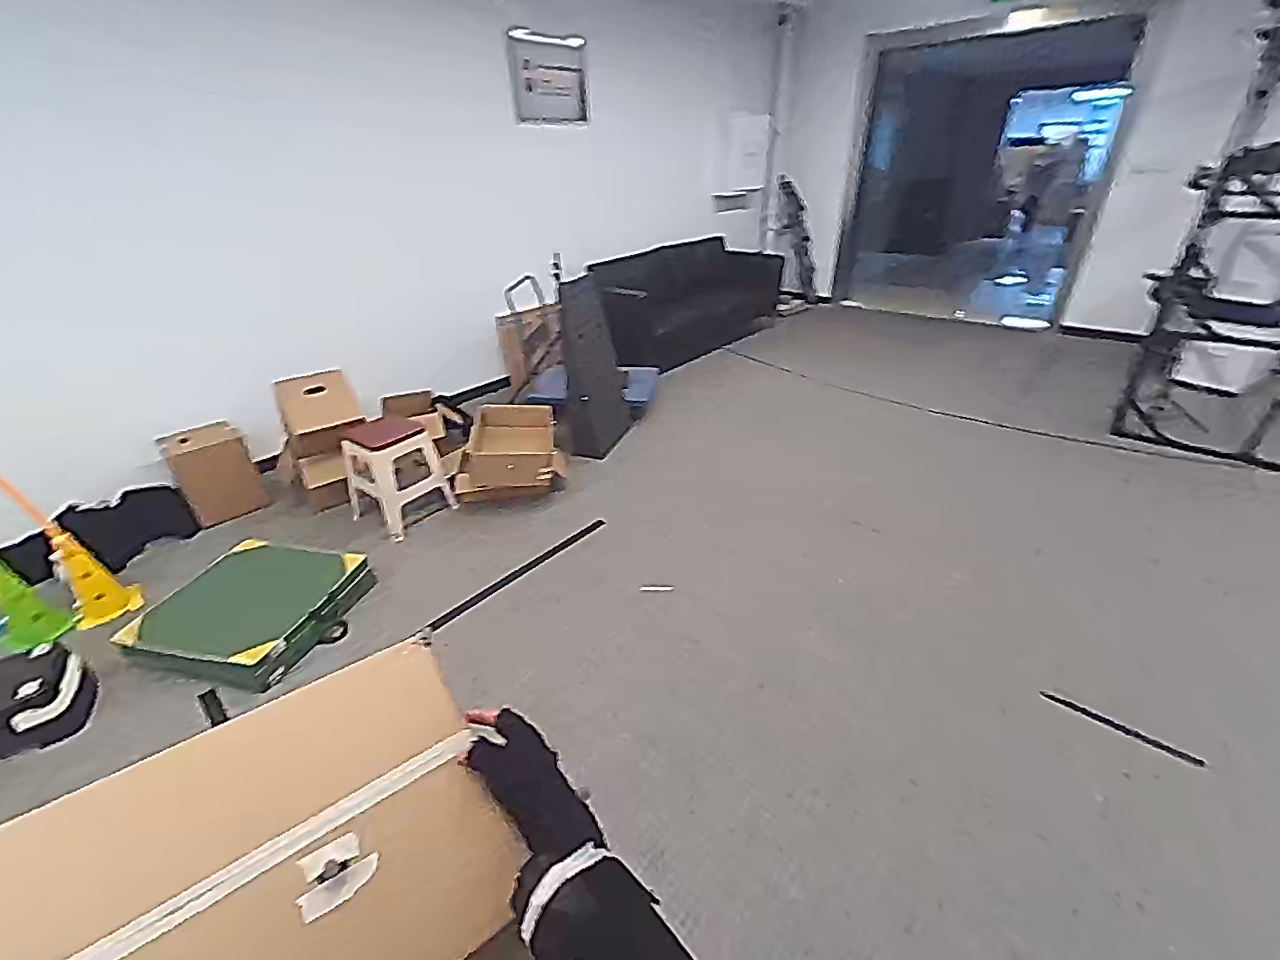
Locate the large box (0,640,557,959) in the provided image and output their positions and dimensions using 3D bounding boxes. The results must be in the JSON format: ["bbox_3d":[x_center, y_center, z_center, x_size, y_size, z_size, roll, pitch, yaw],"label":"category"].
[{"bbox_3d":[-0.331,0.449,0.539,0.408,0.320,0.320,-21,43,-31],"label":"large box"}]
